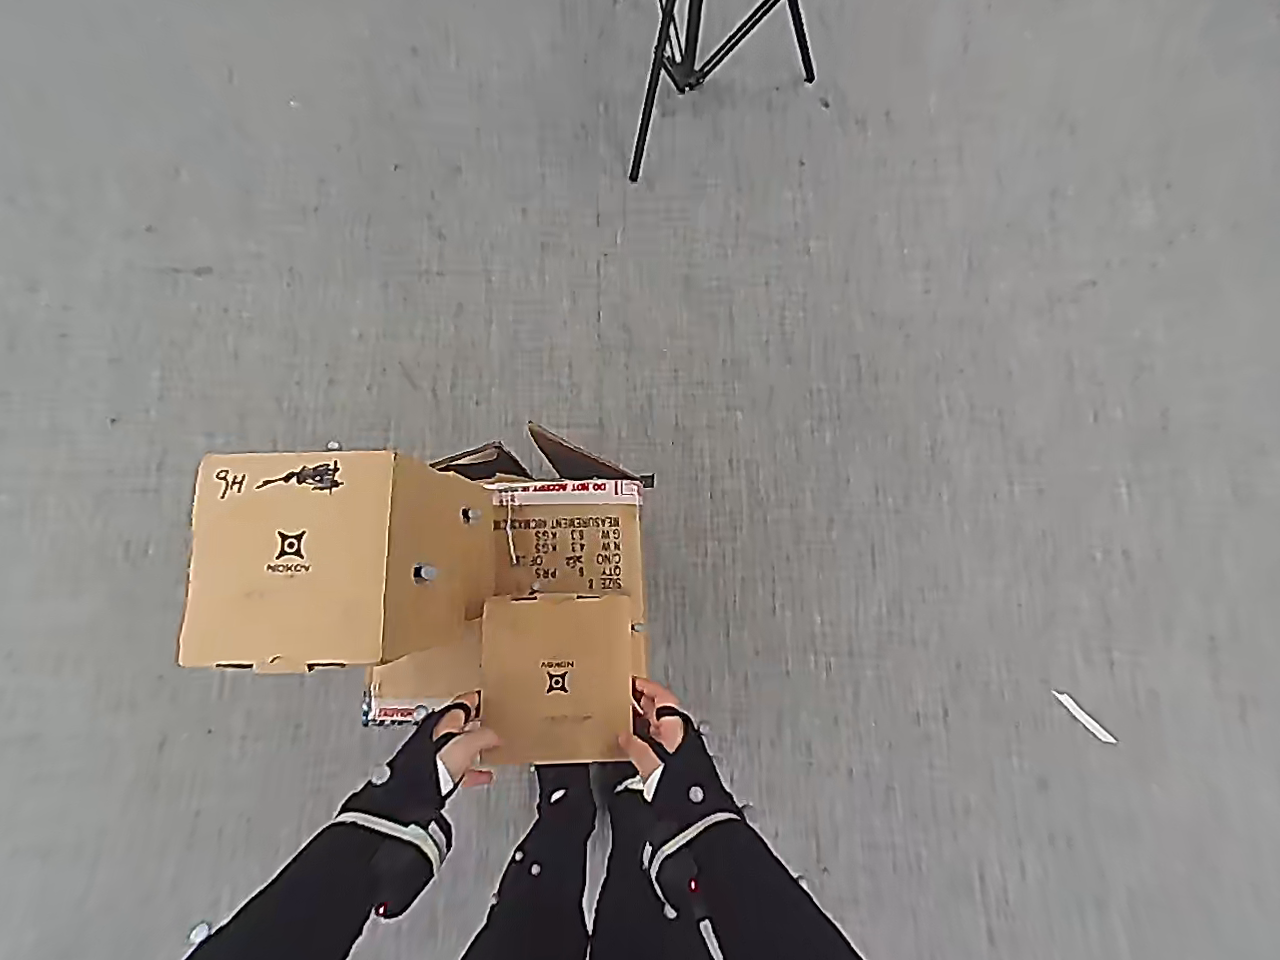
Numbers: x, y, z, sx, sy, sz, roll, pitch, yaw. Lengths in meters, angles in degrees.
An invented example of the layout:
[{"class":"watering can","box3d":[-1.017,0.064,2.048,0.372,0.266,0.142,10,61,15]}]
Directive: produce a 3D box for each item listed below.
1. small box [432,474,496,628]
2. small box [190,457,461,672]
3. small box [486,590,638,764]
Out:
[{"class":"small box","box3d":[-0.288,0.094,0.690,0.168,0.176,0.179,-3,81,0]},{"class":"small box","box3d":[-0.283,0.078,0.526,0.168,0.176,0.179,-1,82,1]},{"class":"small box","box3d":[-0.089,0.229,0.673,0.168,0.176,0.179,-2,82,-2]}]
